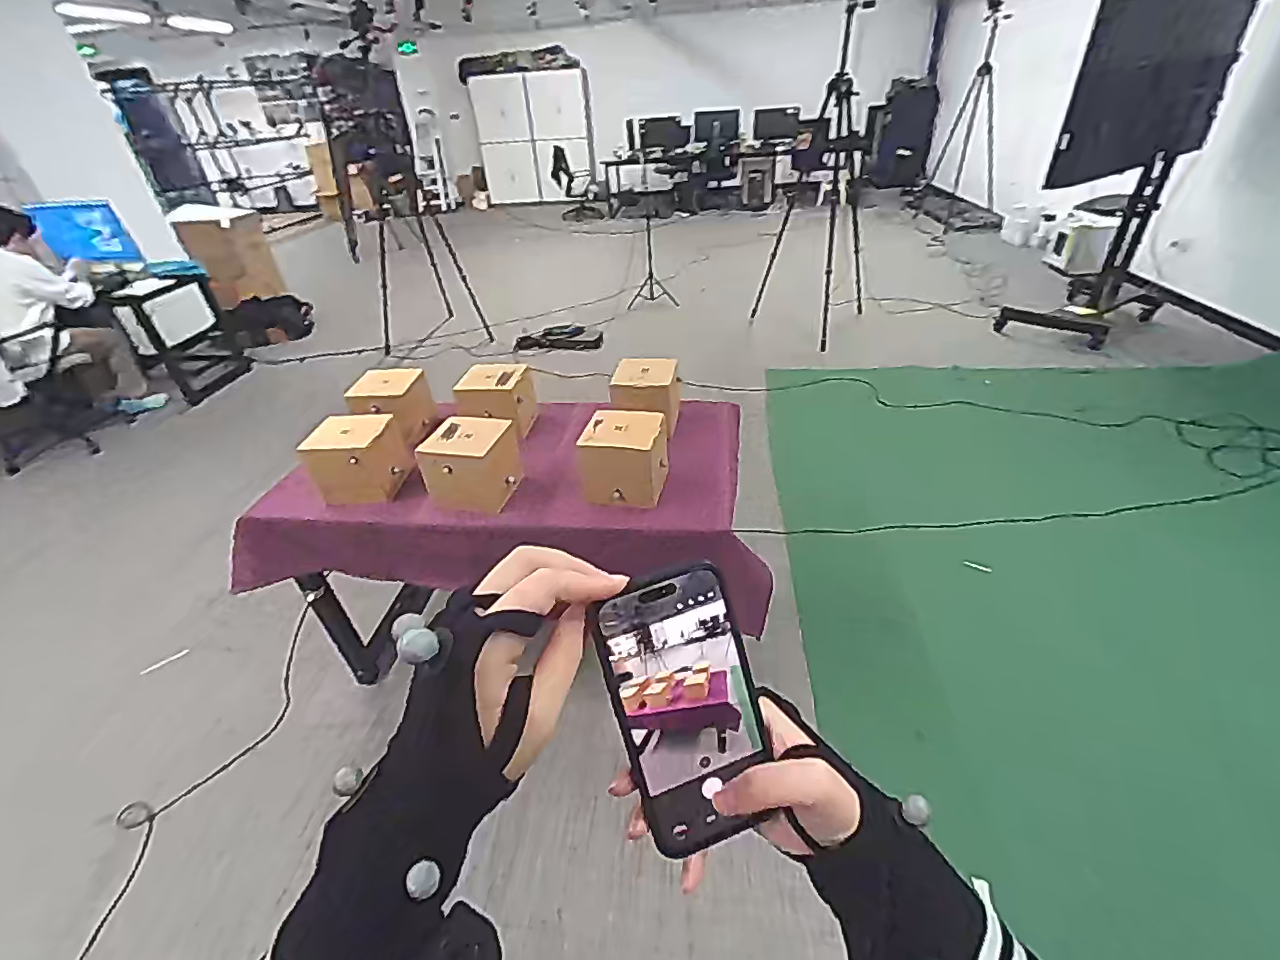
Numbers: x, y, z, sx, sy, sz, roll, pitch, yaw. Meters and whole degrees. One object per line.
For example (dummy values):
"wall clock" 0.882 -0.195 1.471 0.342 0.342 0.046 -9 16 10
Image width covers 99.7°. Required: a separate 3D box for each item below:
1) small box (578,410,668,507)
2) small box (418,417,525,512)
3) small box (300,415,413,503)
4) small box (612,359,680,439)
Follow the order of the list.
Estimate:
"small box" -0.033 -0.051 1.302 0.179 0.176 0.168 6 36 13
"small box" -0.403 -0.039 1.325 0.179 0.176 0.168 5 37 12
"small box" -0.711 -0.053 1.380 0.179 0.176 0.168 -1 35 2
"small box" 0.022 -0.234 1.551 0.168 0.176 0.179 3 37 11
